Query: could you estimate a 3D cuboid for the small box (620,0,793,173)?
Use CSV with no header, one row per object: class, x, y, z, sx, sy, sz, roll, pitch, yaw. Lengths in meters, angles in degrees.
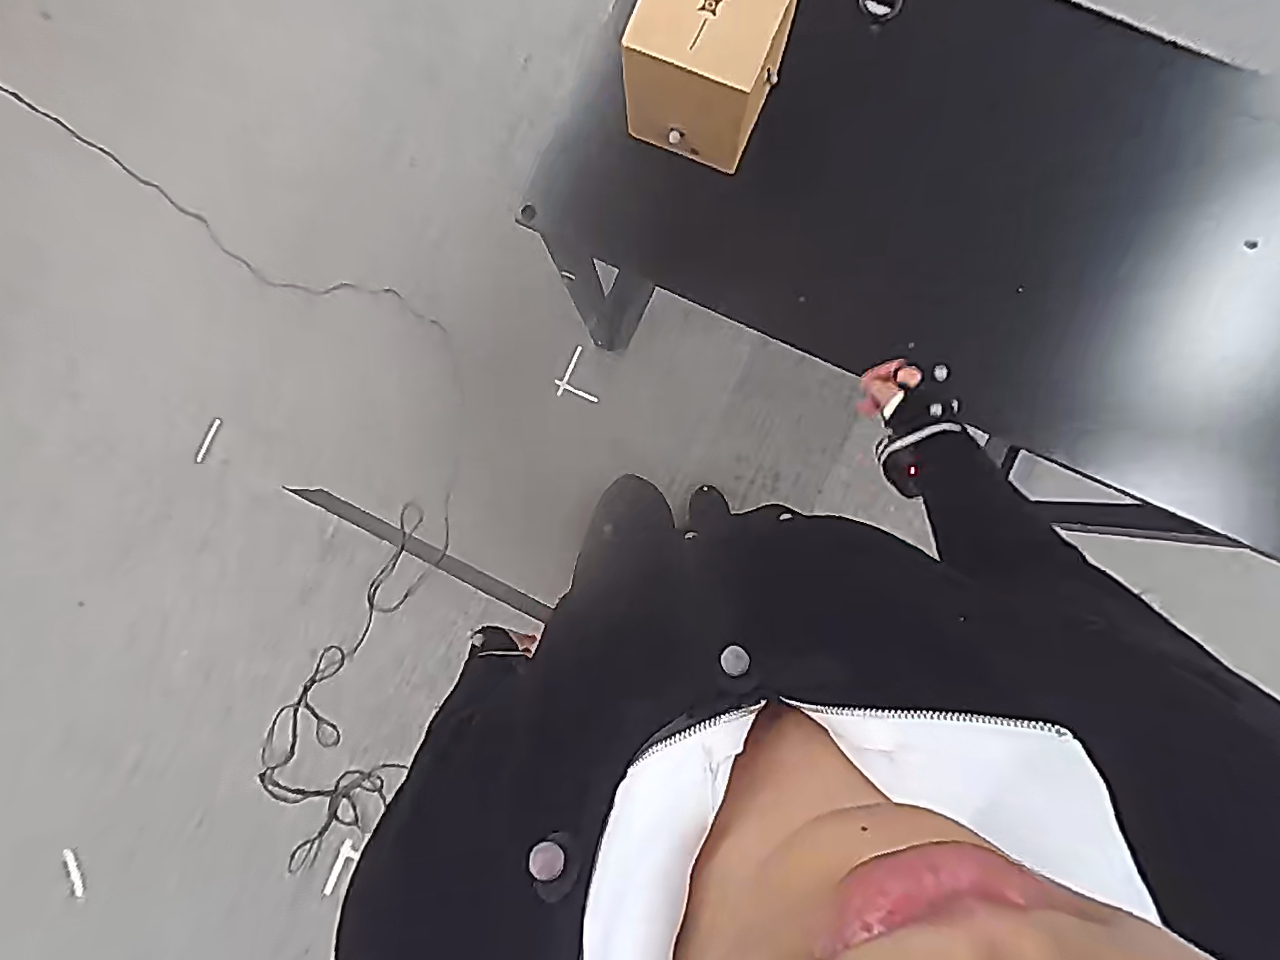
small box,0.084,-0.553,0.708,0.168,0.176,0.179,23,91,3
